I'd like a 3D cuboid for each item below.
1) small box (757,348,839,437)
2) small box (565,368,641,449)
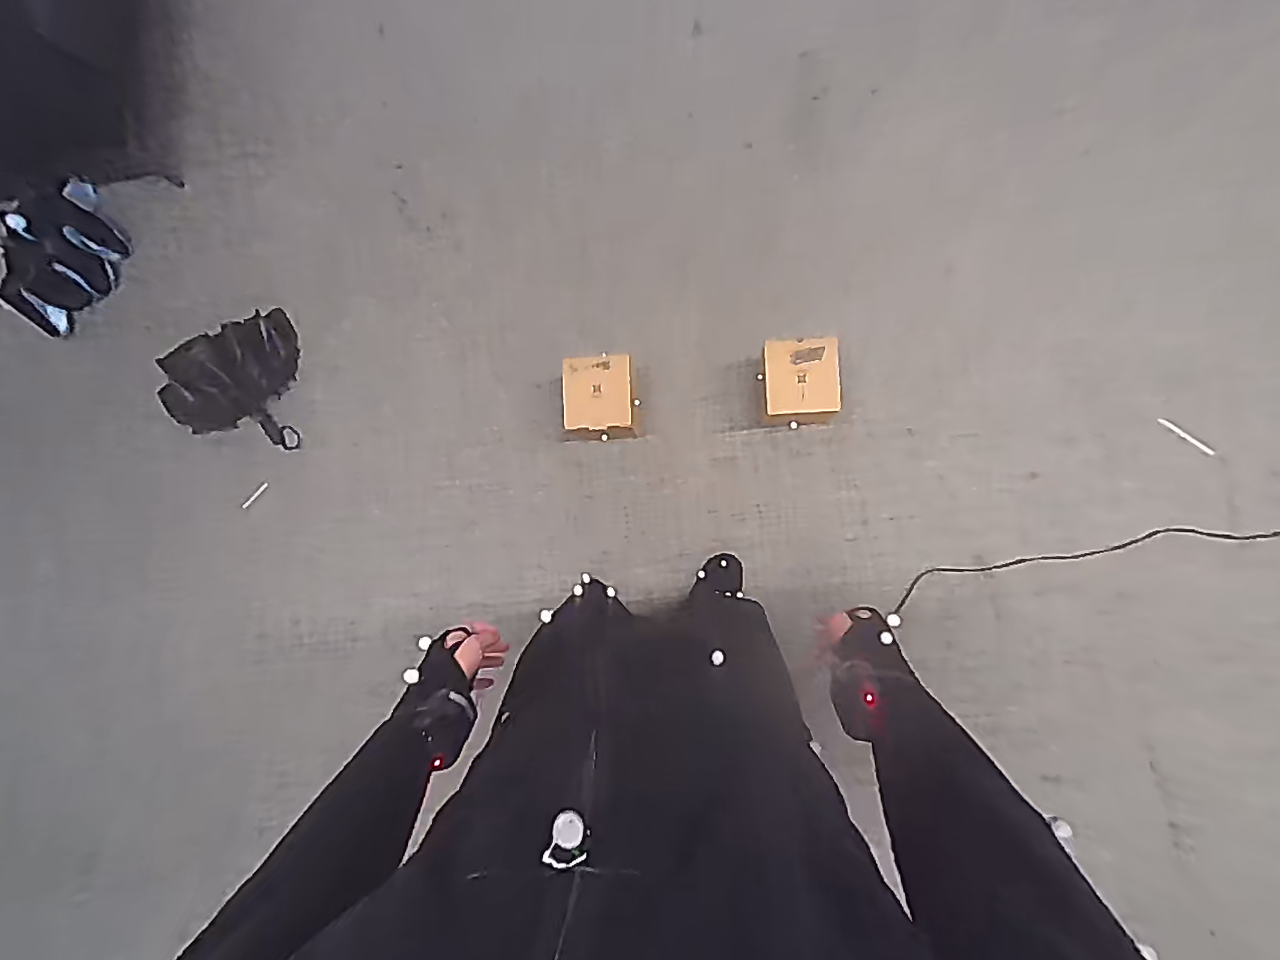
[{"bbox_3d":[0.382,-0.210,1.332,0.168,0.176,0.179,-3,86,8],"label":"small box"},{"bbox_3d":[-0.091,-0.176,1.387,0.168,0.176,0.179,-3,84,6],"label":"small box"}]
